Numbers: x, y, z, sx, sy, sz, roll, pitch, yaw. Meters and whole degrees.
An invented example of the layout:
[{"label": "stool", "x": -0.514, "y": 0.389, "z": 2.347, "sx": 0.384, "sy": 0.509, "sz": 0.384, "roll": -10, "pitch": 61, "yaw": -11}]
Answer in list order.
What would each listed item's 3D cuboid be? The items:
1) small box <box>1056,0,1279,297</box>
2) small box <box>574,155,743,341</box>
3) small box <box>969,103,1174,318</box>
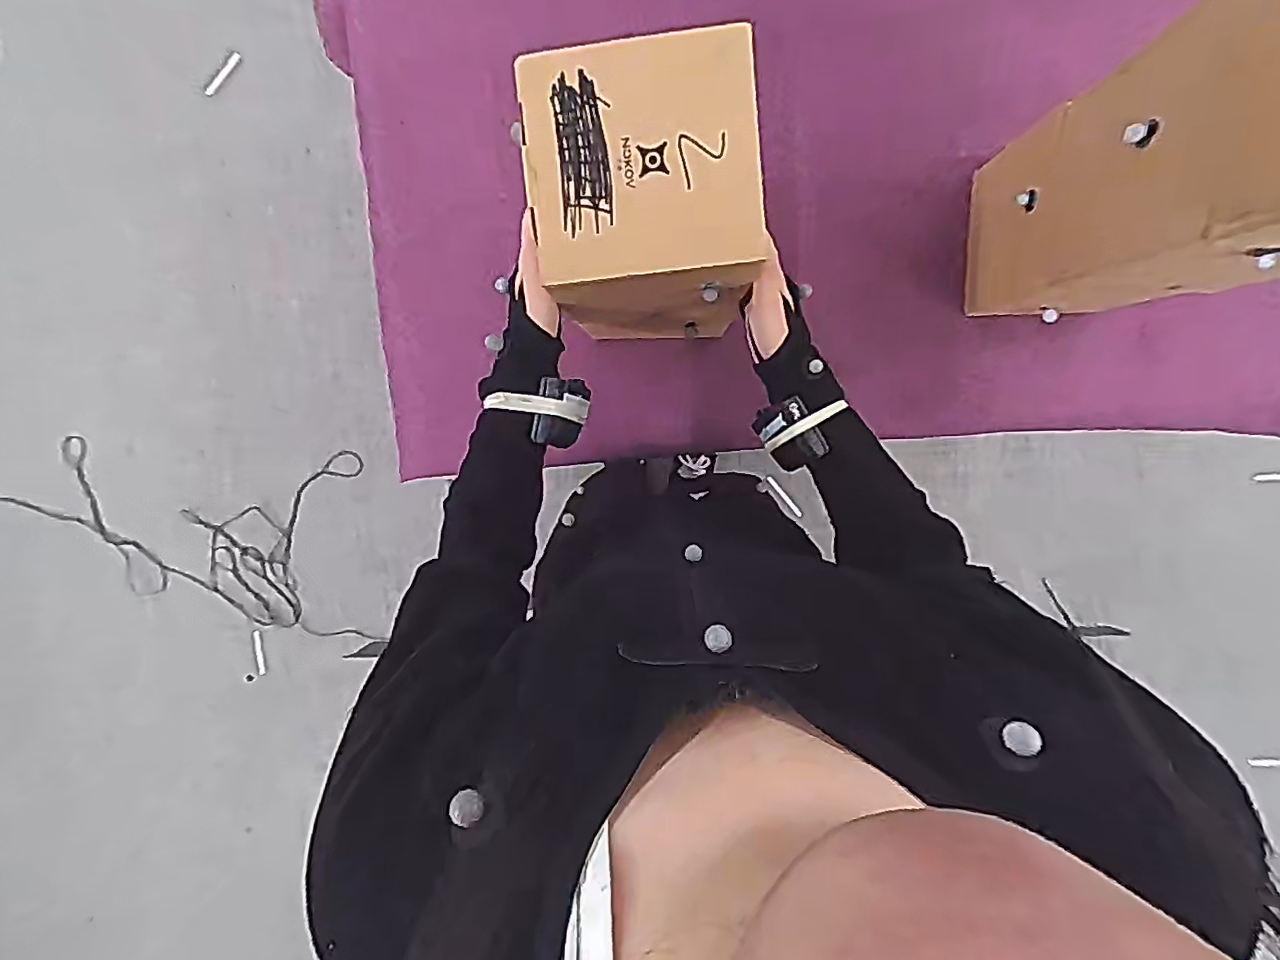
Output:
[{"label": "small box", "x": 0.487, "y": -0.261, "z": 0.445, "sx": 0.168, "sy": 0.176, "sz": 0.179, "roll": 2, "pitch": 97, "yaw": 4}, {"label": "small box", "x": 0.023, "y": -0.260, "z": 0.642, "sx": 0.179, "sy": 0.176, "sz": 0.168, "roll": 0, "pitch": 97, "yaw": 4}, {"label": "small box", "x": 0.497, "y": -0.287, "z": 0.606, "sx": 0.168, "sy": 0.176, "sz": 0.179, "roll": 0, "pitch": 98, "yaw": 5}]
